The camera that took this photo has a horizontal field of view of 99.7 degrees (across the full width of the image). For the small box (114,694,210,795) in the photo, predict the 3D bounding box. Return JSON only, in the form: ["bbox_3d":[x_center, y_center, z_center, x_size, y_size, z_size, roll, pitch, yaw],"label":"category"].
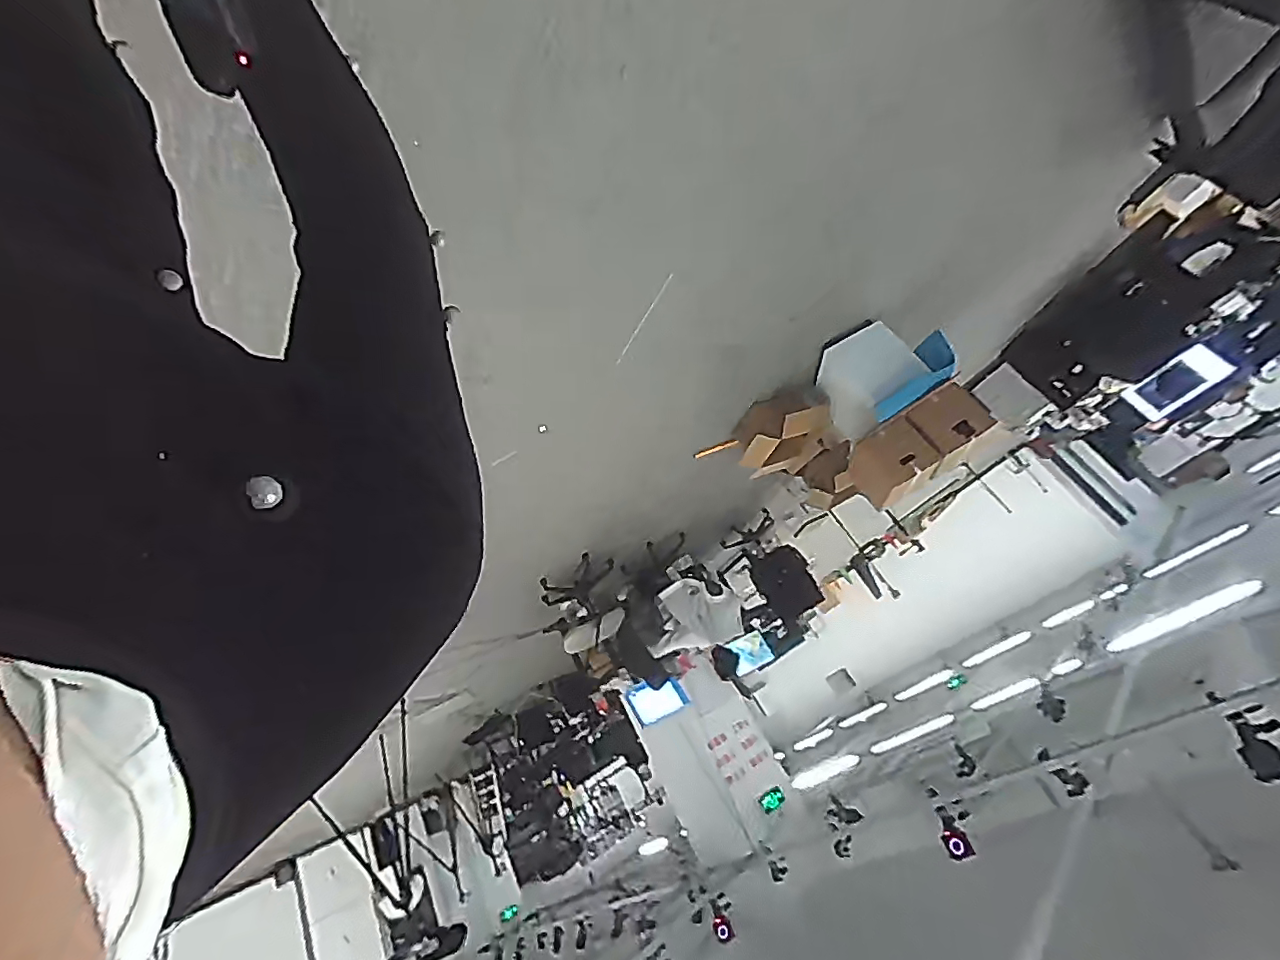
[{"bbox_3d":[-1.297,0.715,1.470,0.179,0.176,0.168,-11,150,-39],"label":"small box"}]
